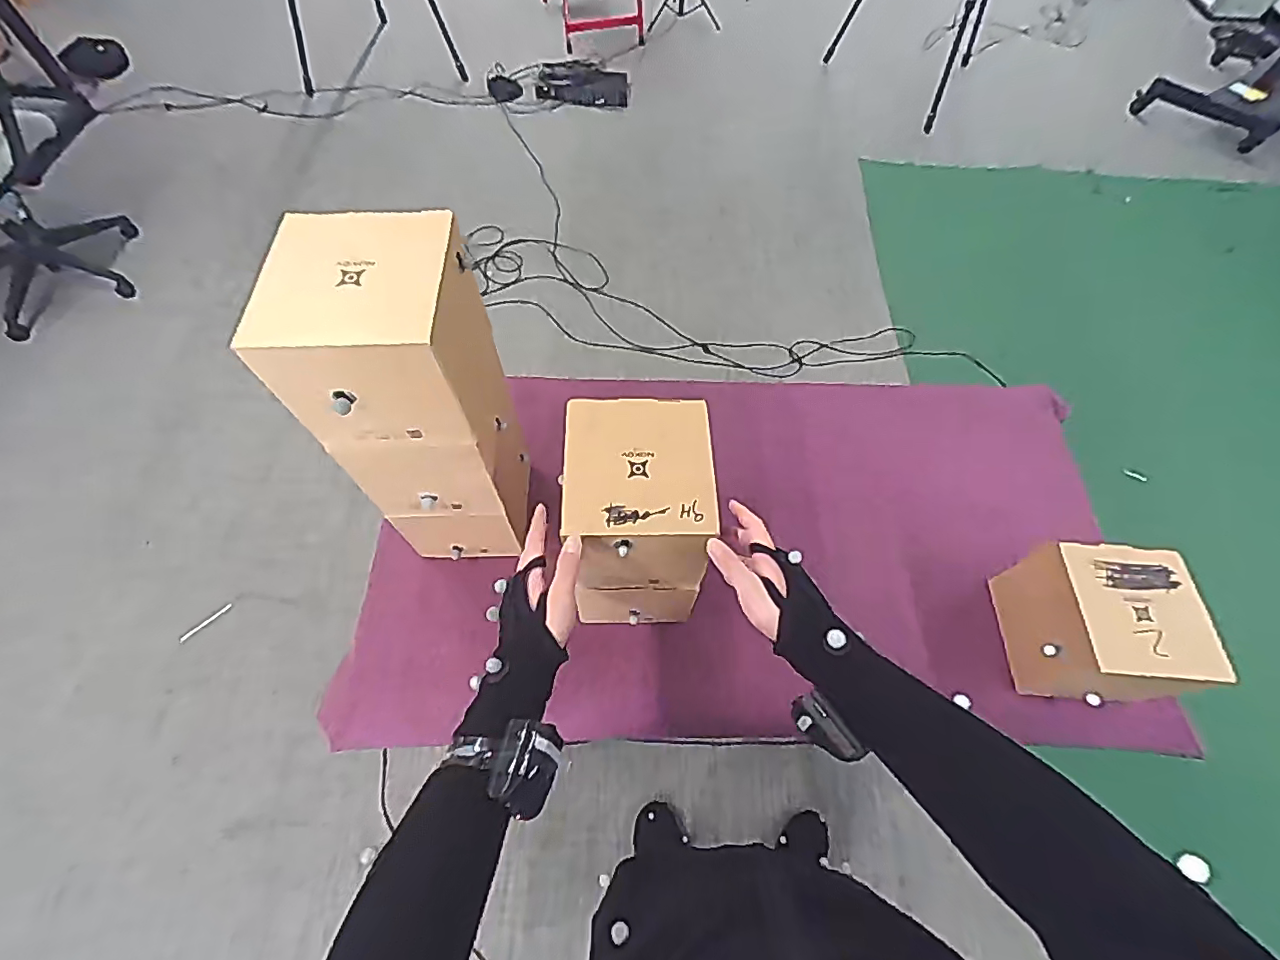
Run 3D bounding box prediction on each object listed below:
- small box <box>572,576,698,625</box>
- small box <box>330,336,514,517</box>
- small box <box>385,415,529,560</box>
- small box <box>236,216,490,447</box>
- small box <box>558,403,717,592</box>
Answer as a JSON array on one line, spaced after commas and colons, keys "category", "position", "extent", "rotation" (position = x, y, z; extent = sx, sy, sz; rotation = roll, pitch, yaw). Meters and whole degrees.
[{"category": "small box", "position": [-0.009, 0.107, 0.804], "extent": [0.168, 0.176, 0.179], "rotation": [0, 61, -1]}, {"category": "small box", "position": [-0.265, -0.066, 0.706], "extent": [0.168, 0.176, 0.179], "rotation": [-2, 62, -2]}, {"category": "small box", "position": [-0.270, 0.015, 0.847], "extent": [0.168, 0.176, 0.179], "rotation": [-1, 62, -2]}, {"category": "small box", "position": [-0.262, -0.144, 0.563], "extent": [0.168, 0.176, 0.179], "rotation": [-2, 61, -2]}, {"category": "small box", "position": [-0.005, 0.025, 0.661], "extent": [0.168, 0.176, 0.179], "rotation": [0, 60, -1]}]
